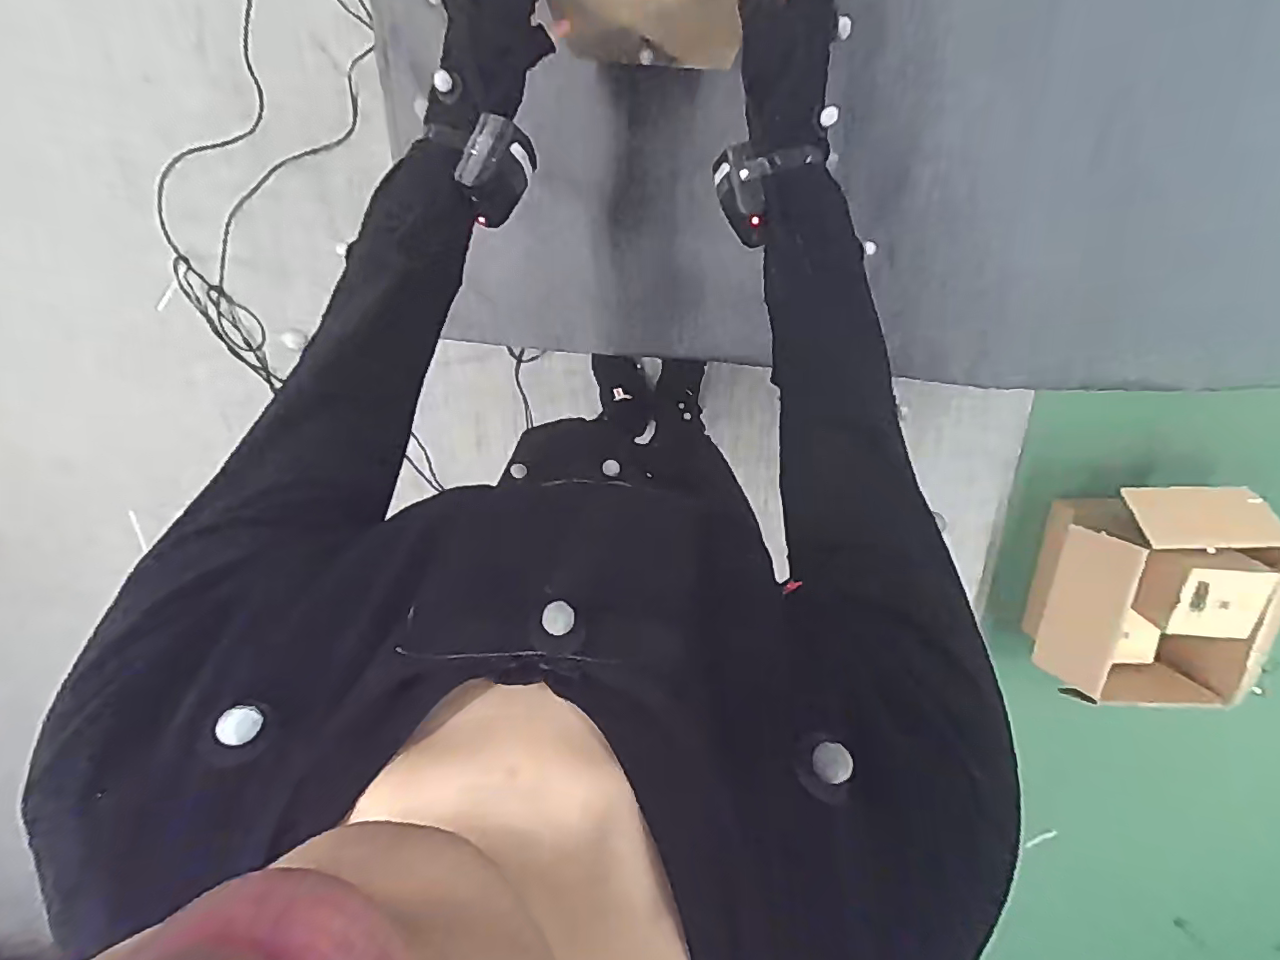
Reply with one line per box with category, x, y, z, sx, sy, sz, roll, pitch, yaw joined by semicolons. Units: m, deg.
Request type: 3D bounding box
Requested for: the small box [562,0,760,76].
small box;0.018;-0.473;0.448;0.168;0.176;0.179;4;111;0
